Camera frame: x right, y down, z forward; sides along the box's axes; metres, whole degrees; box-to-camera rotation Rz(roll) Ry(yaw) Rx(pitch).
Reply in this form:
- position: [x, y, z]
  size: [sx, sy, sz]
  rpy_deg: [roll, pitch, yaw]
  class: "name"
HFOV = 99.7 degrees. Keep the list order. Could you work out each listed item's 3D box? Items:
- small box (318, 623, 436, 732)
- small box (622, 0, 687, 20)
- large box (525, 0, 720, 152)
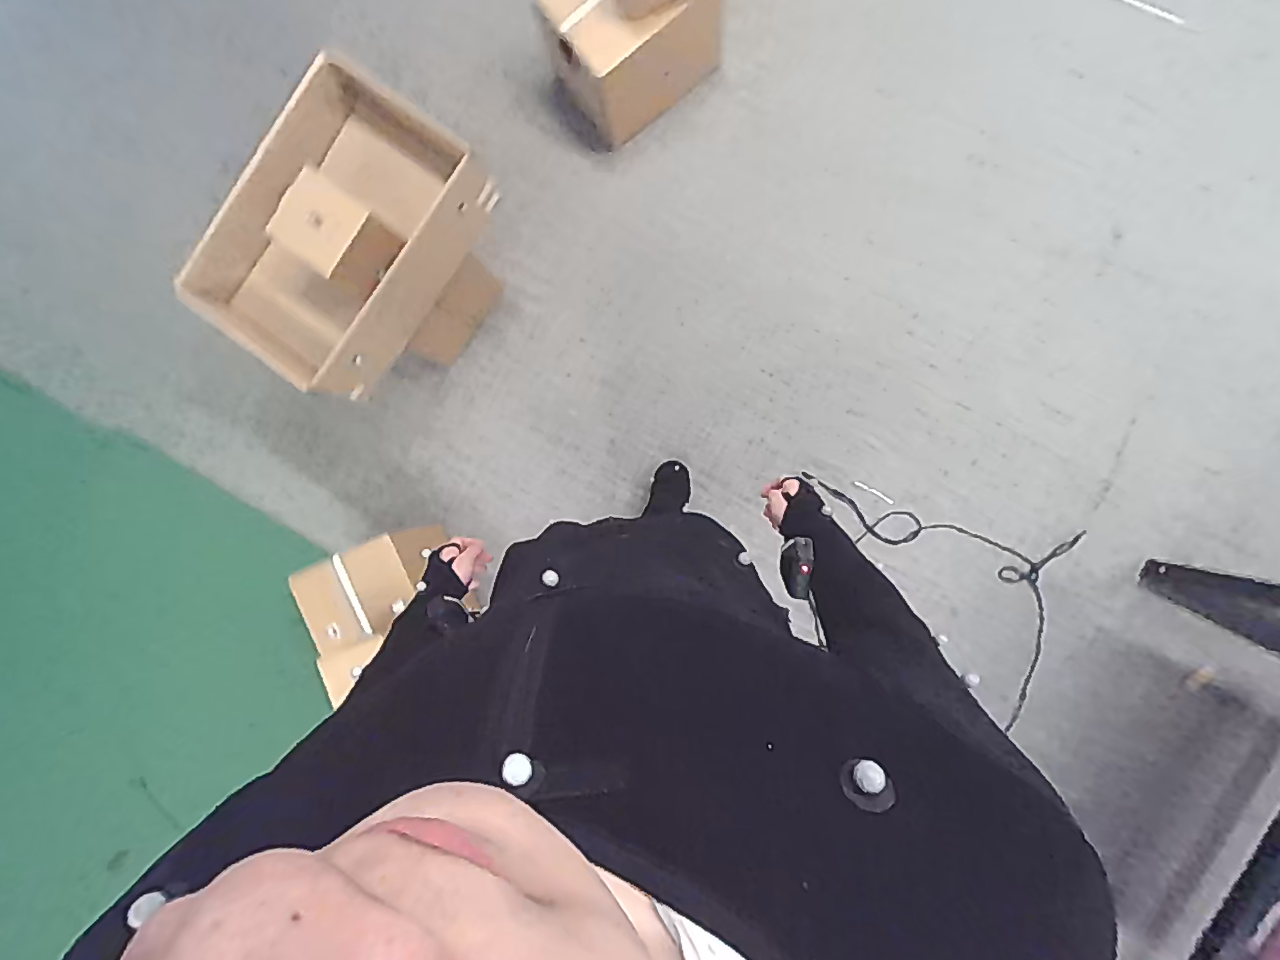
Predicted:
- position: [-0.614, 0.462, 1.292]
  size: [0.179, 0.176, 0.168]
  rpy_deg: [-23, 88, 5]
  class: "small box"
- position: [0.018, -1.211, 1.222]
  size: [0.168, 0.176, 0.179]
  rpy_deg: [-18, 90, 5]
  class: "small box"
- position: [-0.032, -1.221, 1.474]
  size: [0.408, 0.320, 0.320]
  rpy_deg: [-38, 87, 5]
  class: "large box"
